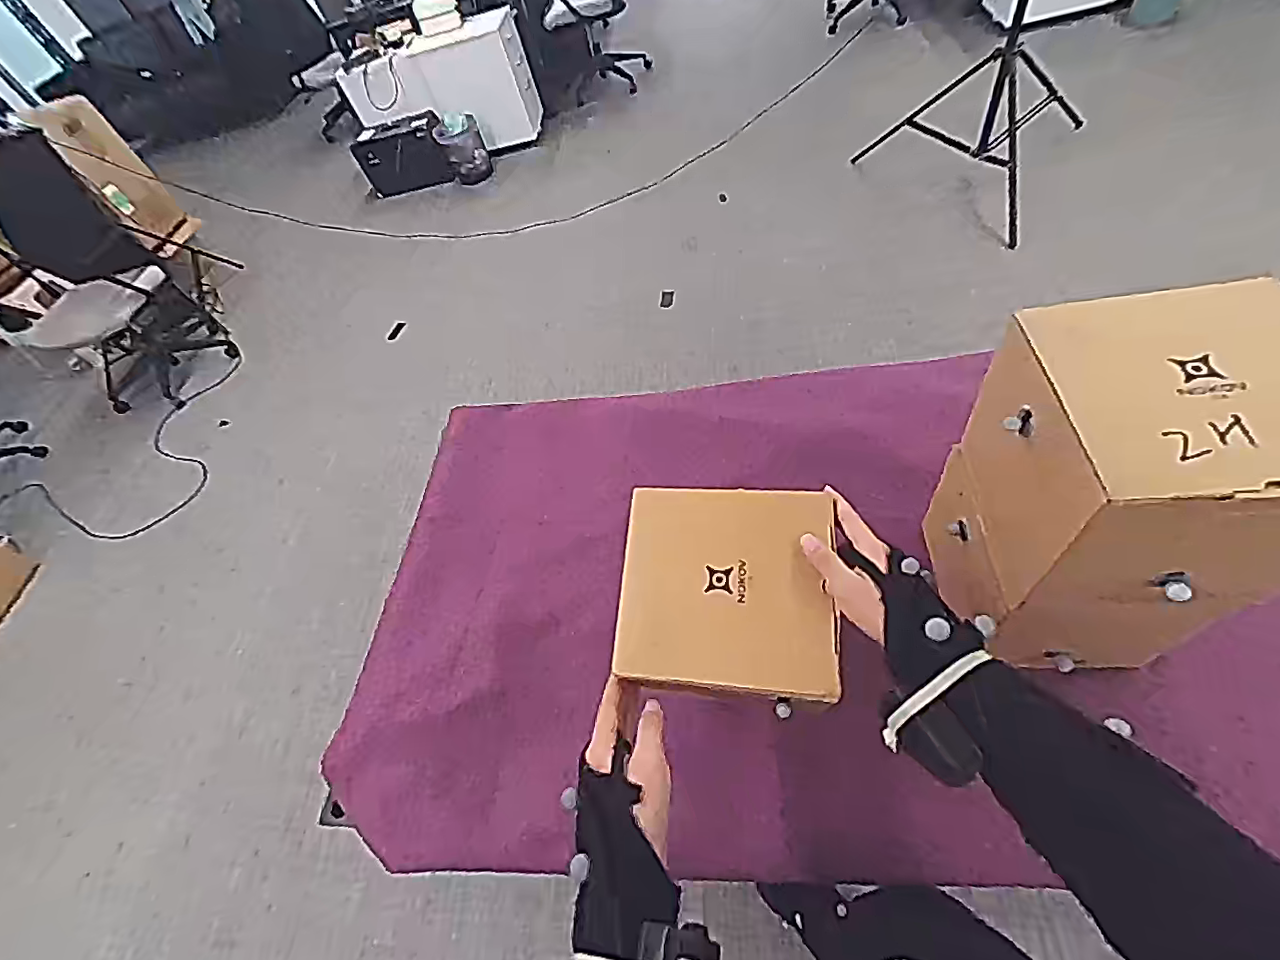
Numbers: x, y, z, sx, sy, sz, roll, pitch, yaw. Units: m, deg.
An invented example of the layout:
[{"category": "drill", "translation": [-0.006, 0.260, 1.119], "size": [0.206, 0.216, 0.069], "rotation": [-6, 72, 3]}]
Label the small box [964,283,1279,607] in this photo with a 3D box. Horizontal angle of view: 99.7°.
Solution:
[{"category": "small box", "translation": [0.373, -0.018, 0.413], "size": [0.168, 0.176, 0.179], "rotation": [-5, 54, 13]}]

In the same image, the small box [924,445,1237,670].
[{"category": "small box", "translation": [0.405, 0.077, 0.545], "size": [0.168, 0.176, 0.179], "rotation": [-4, 54, 13]}]

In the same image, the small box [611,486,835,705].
[{"category": "small box", "translation": [0.086, 0.117, 0.522], "size": [0.179, 0.176, 0.168], "rotation": [1, 64, 13]}]
